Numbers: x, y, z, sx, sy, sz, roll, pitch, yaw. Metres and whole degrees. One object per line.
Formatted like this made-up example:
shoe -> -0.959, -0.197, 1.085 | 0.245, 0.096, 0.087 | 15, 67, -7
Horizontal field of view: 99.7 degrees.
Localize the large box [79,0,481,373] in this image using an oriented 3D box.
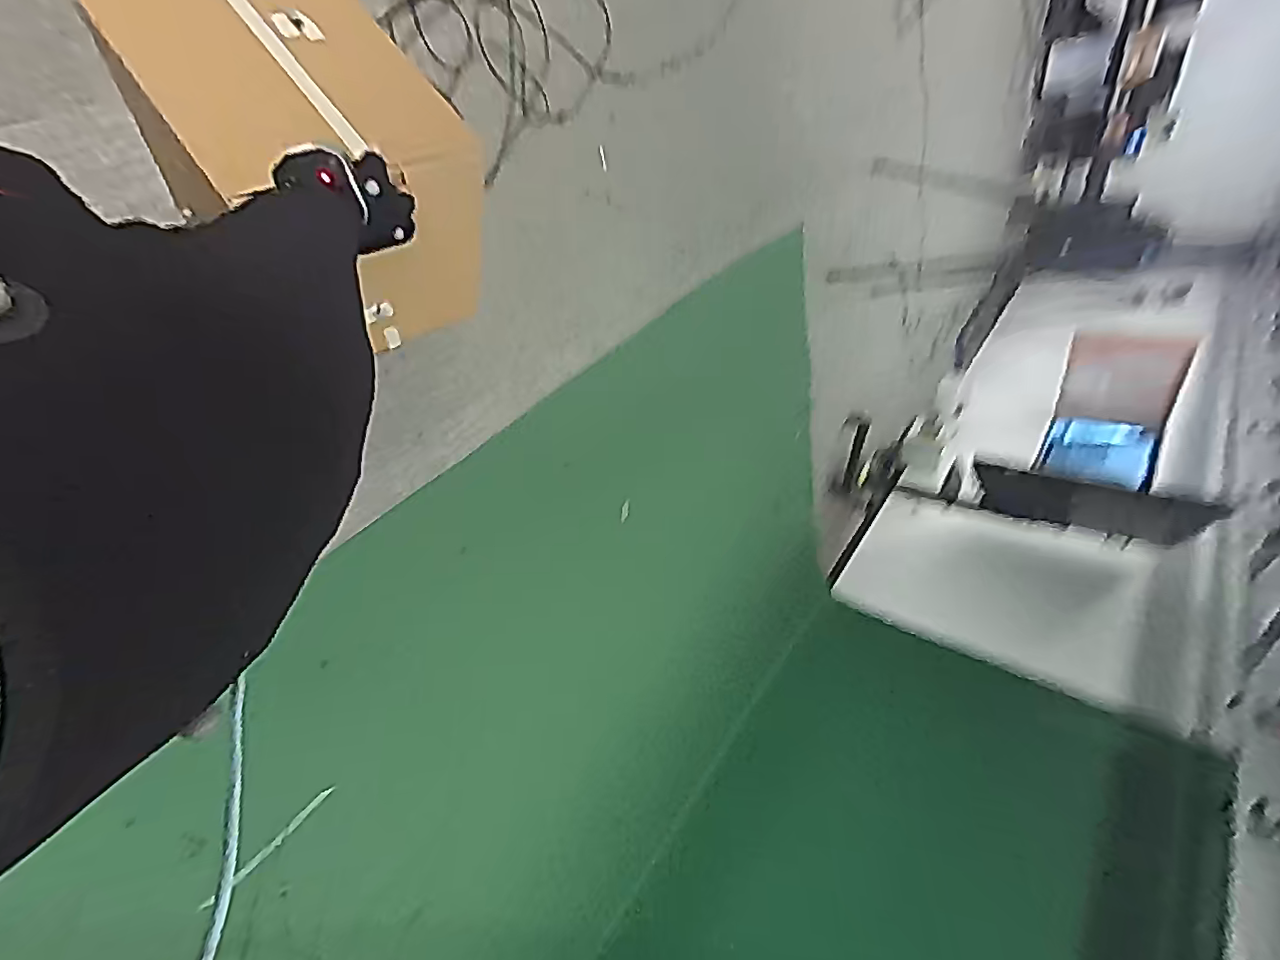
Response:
large box -> -0.486, -0.442, 0.814 | 0.320, 0.408, 0.320 | -33, 166, -31
